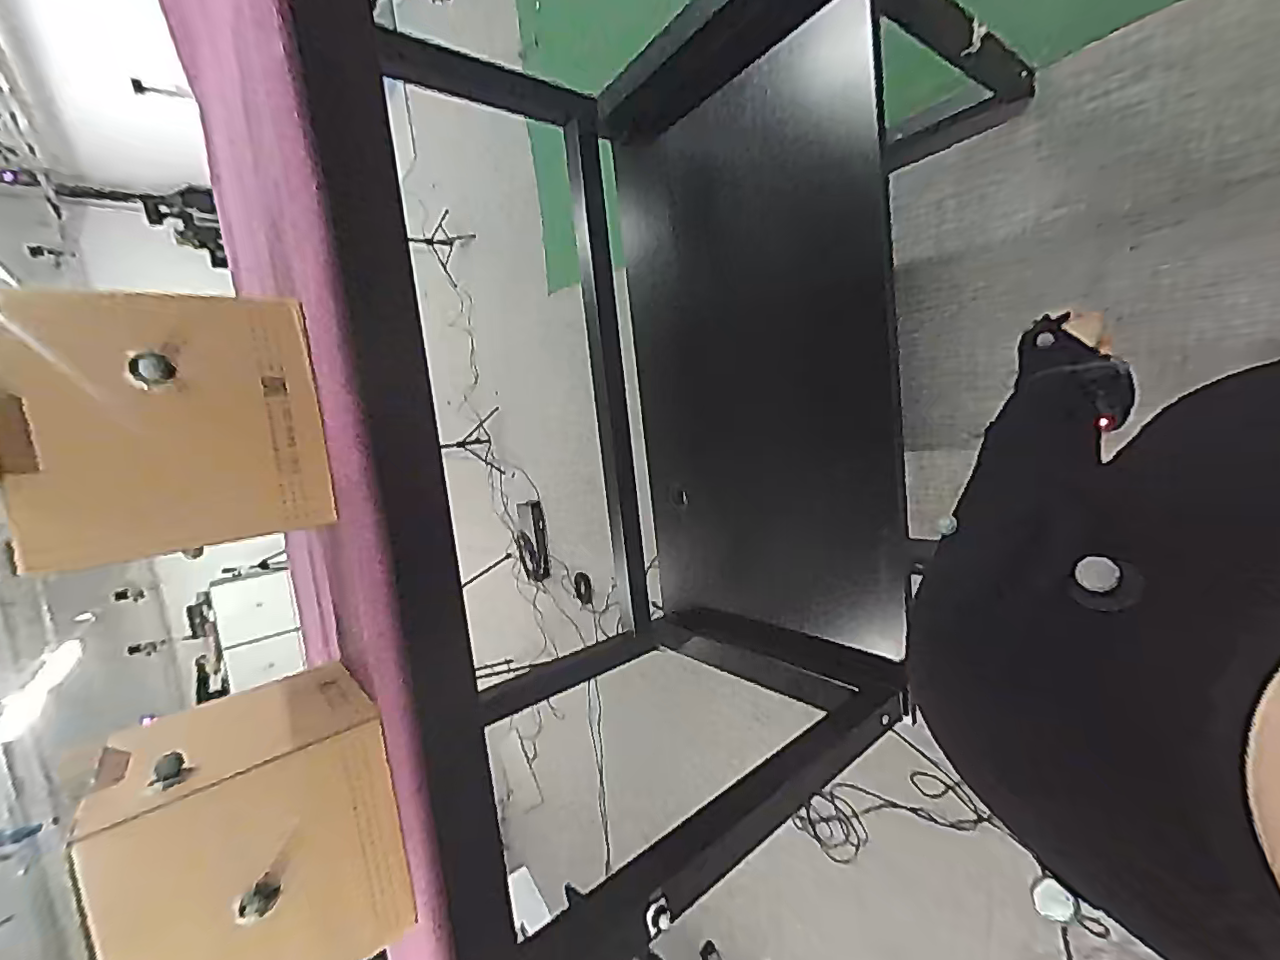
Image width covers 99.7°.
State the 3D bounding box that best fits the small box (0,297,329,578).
[{"bbox_3d":[-0.350,-0.041,0.413,0.179,0.176,0.168,7,103,52],"label":"small box"}]
